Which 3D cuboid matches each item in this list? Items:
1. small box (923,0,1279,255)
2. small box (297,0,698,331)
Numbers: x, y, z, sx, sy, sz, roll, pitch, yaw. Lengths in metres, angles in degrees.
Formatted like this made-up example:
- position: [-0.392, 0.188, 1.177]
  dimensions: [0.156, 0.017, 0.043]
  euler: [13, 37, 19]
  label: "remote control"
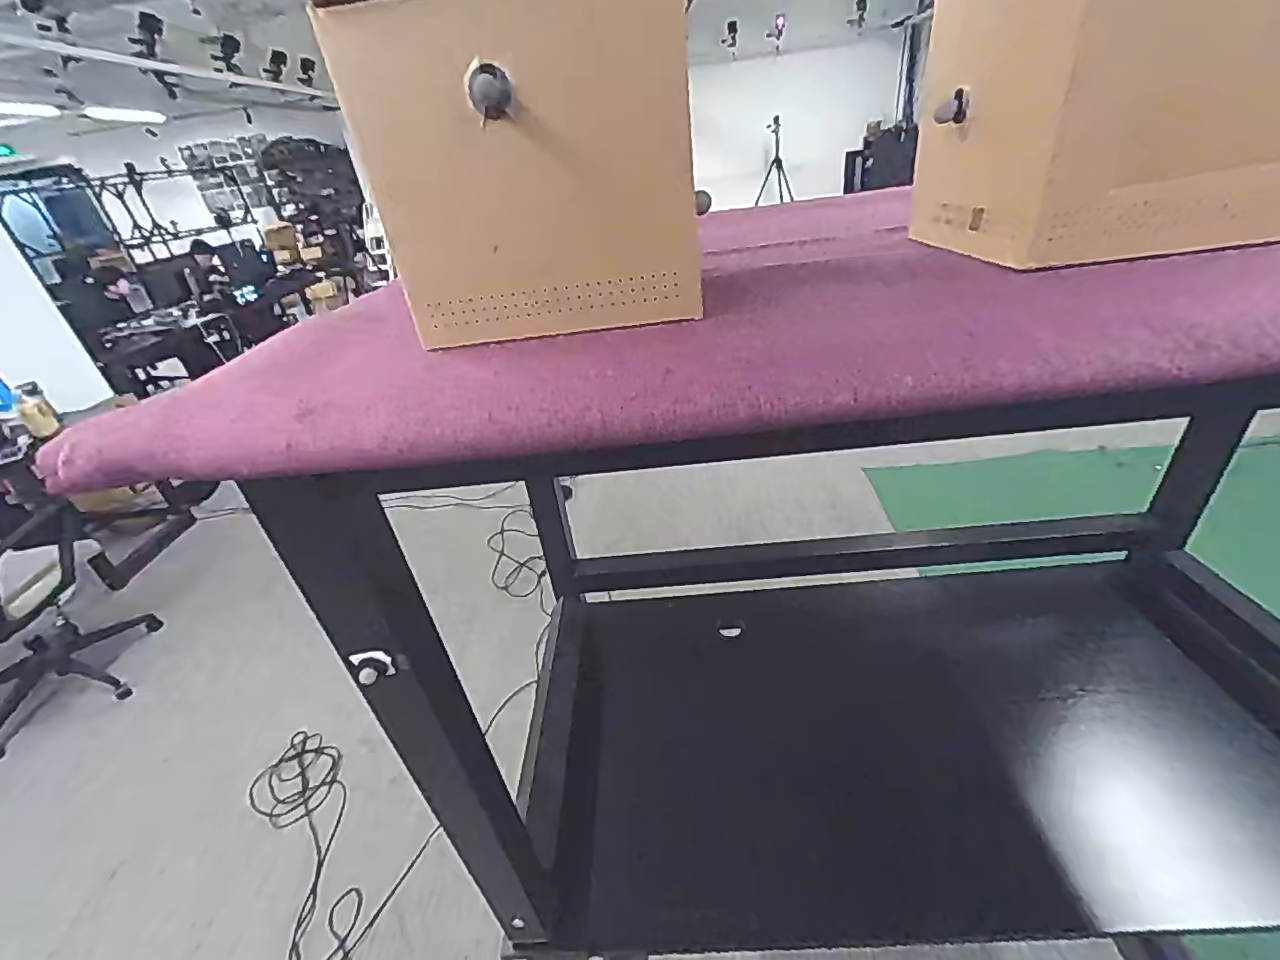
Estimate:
- position: [0.299, -0.246, 0.339]
  dimensions: [0.179, 0.176, 0.168]
  euler: [-5, 30, 4]
  label: "small box"
- position: [-0.061, -0.203, 0.345]
  dimensions: [0.179, 0.176, 0.168]
  euler: [-6, 33, 3]
  label: "small box"
